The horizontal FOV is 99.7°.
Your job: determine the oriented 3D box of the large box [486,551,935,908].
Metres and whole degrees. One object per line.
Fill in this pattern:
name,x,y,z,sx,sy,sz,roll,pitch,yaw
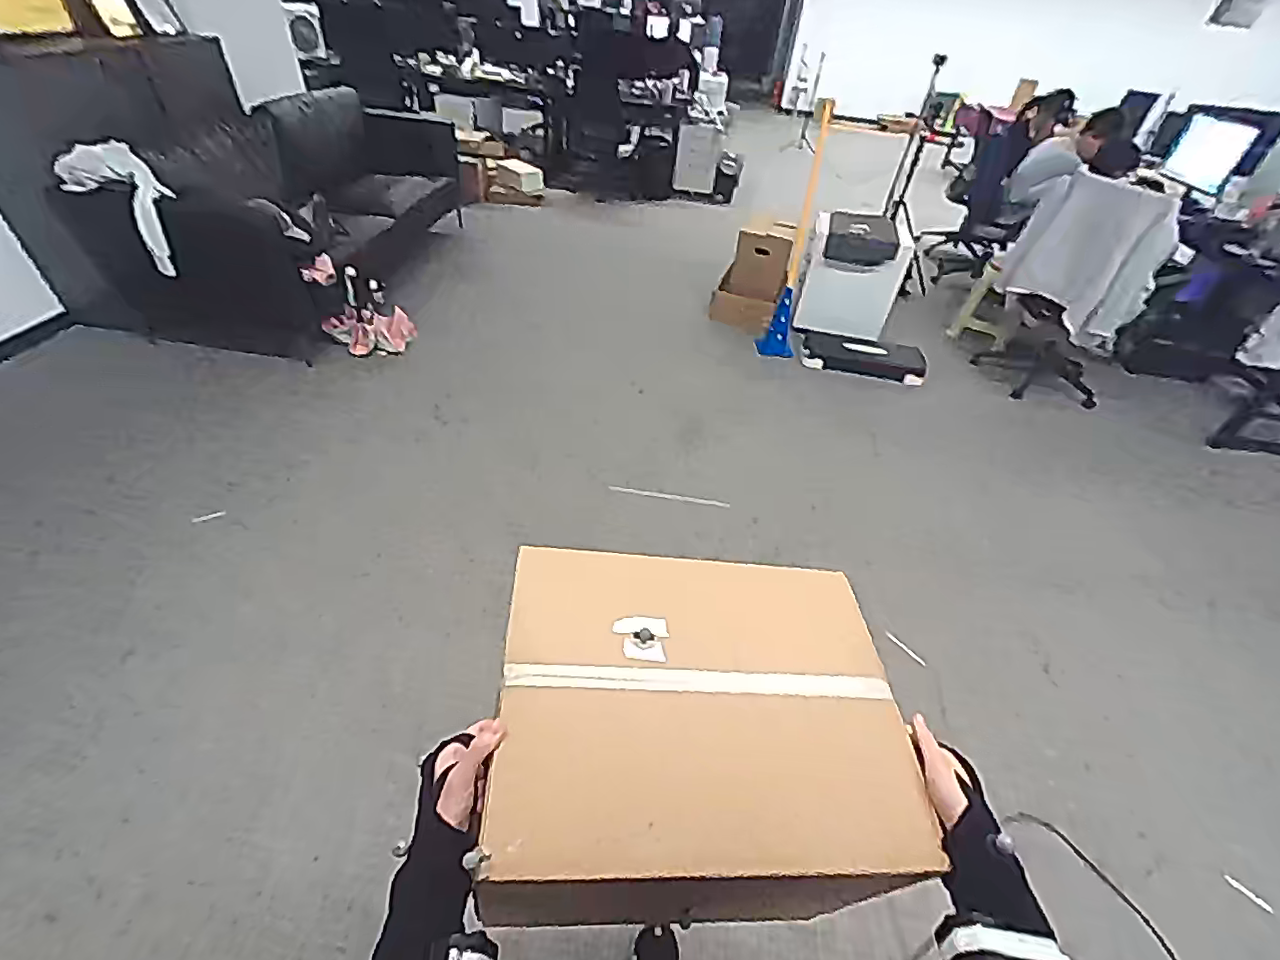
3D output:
large box,0.042,0.310,0.661,0.408,0.320,0.320,6,45,-9
